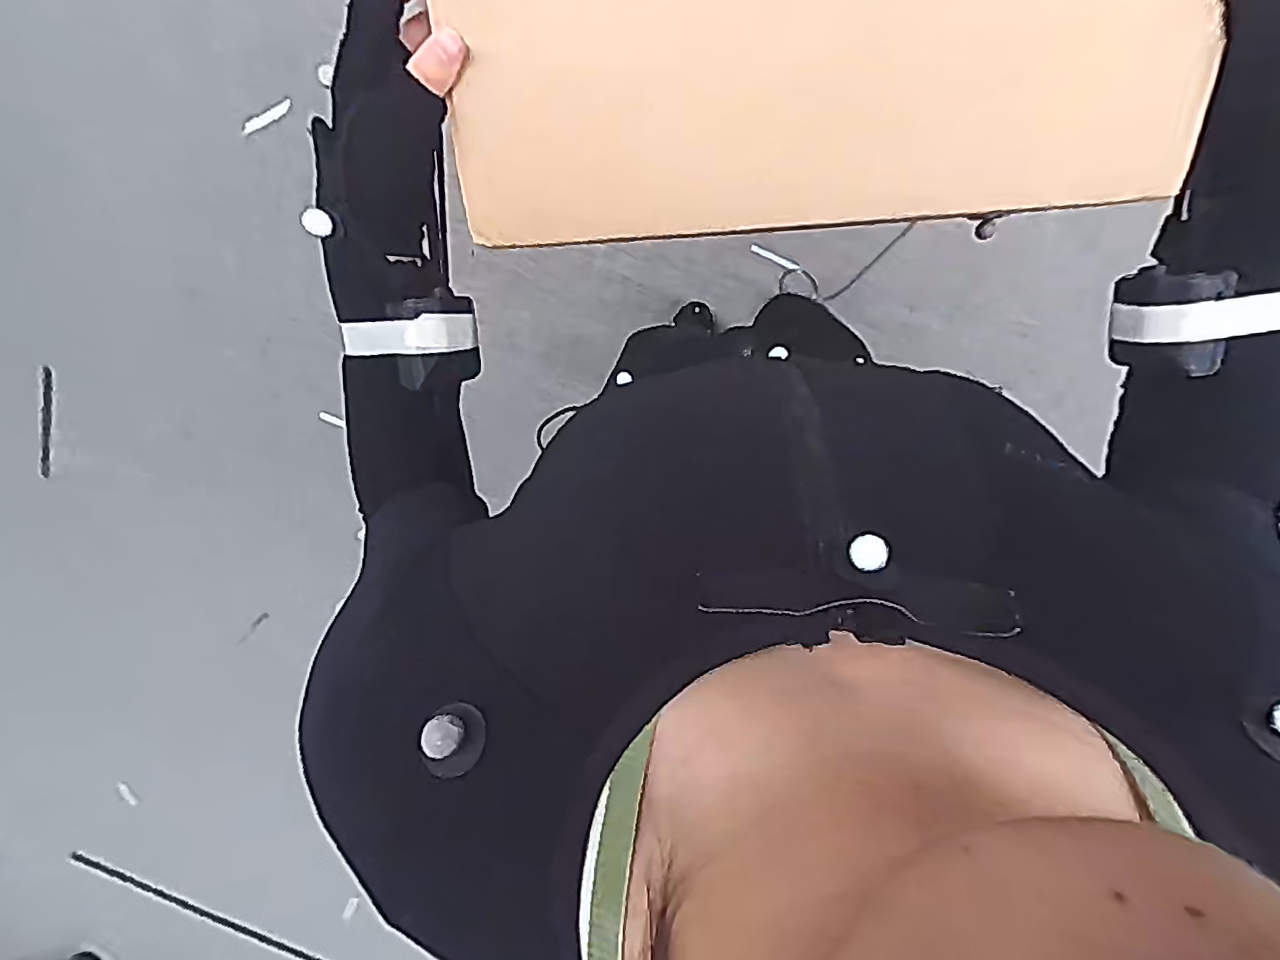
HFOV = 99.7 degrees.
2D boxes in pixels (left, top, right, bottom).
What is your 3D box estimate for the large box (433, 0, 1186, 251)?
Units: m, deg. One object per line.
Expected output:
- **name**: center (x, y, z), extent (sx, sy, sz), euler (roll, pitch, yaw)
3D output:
- **large box**: center (0.089, -0.361, 0.400), extent (0.408, 0.320, 0.320), euler (-3, 114, 4)
